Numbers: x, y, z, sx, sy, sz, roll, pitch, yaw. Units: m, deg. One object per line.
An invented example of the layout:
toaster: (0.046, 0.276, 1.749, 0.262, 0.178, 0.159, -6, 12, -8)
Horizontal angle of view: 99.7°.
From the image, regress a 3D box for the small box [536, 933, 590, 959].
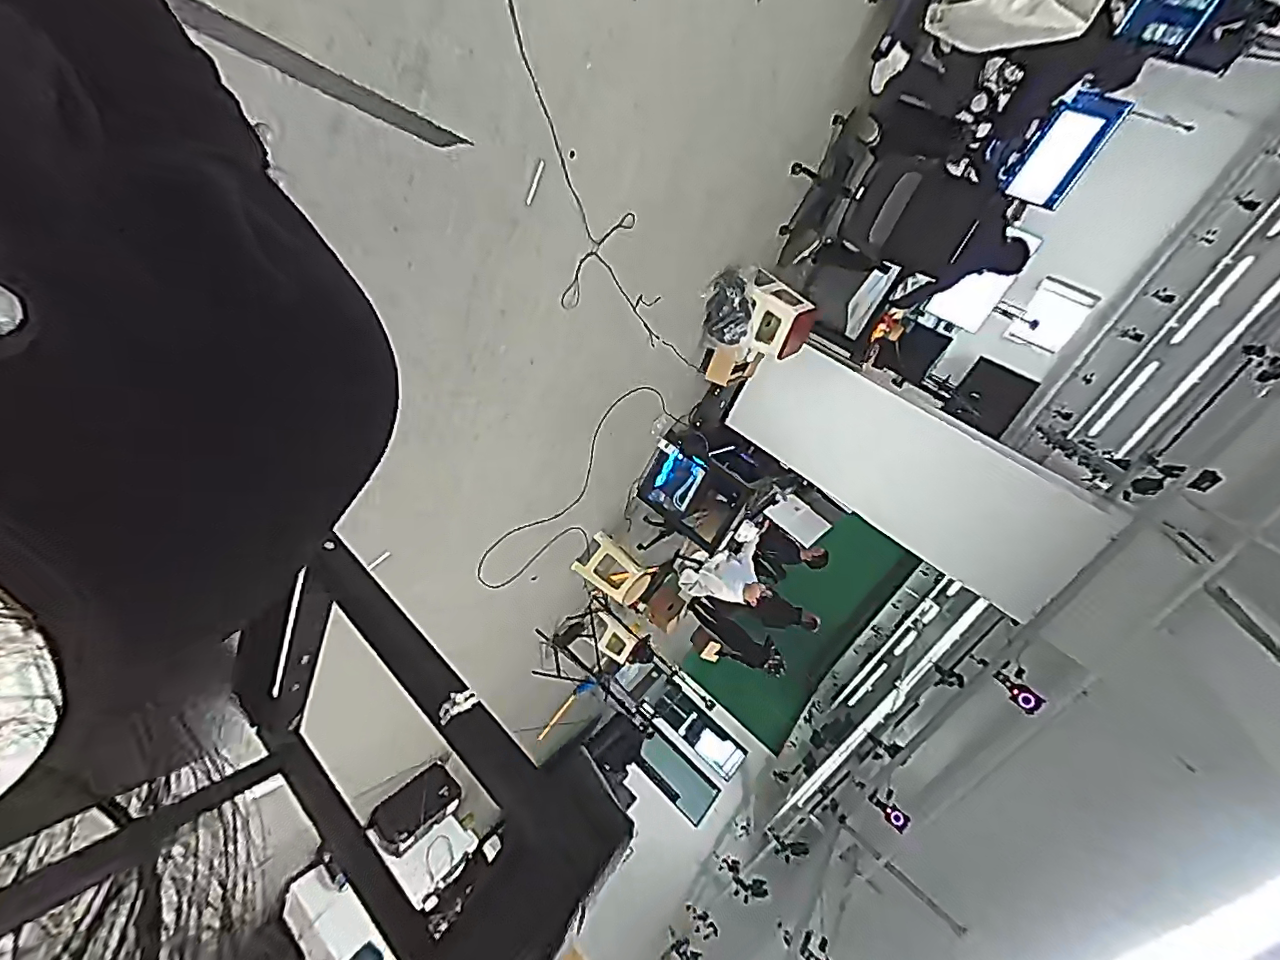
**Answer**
small box: (-0.112, 0.655, 0.579, 0.168, 0.176, 0.179, -56, 157, 17)
